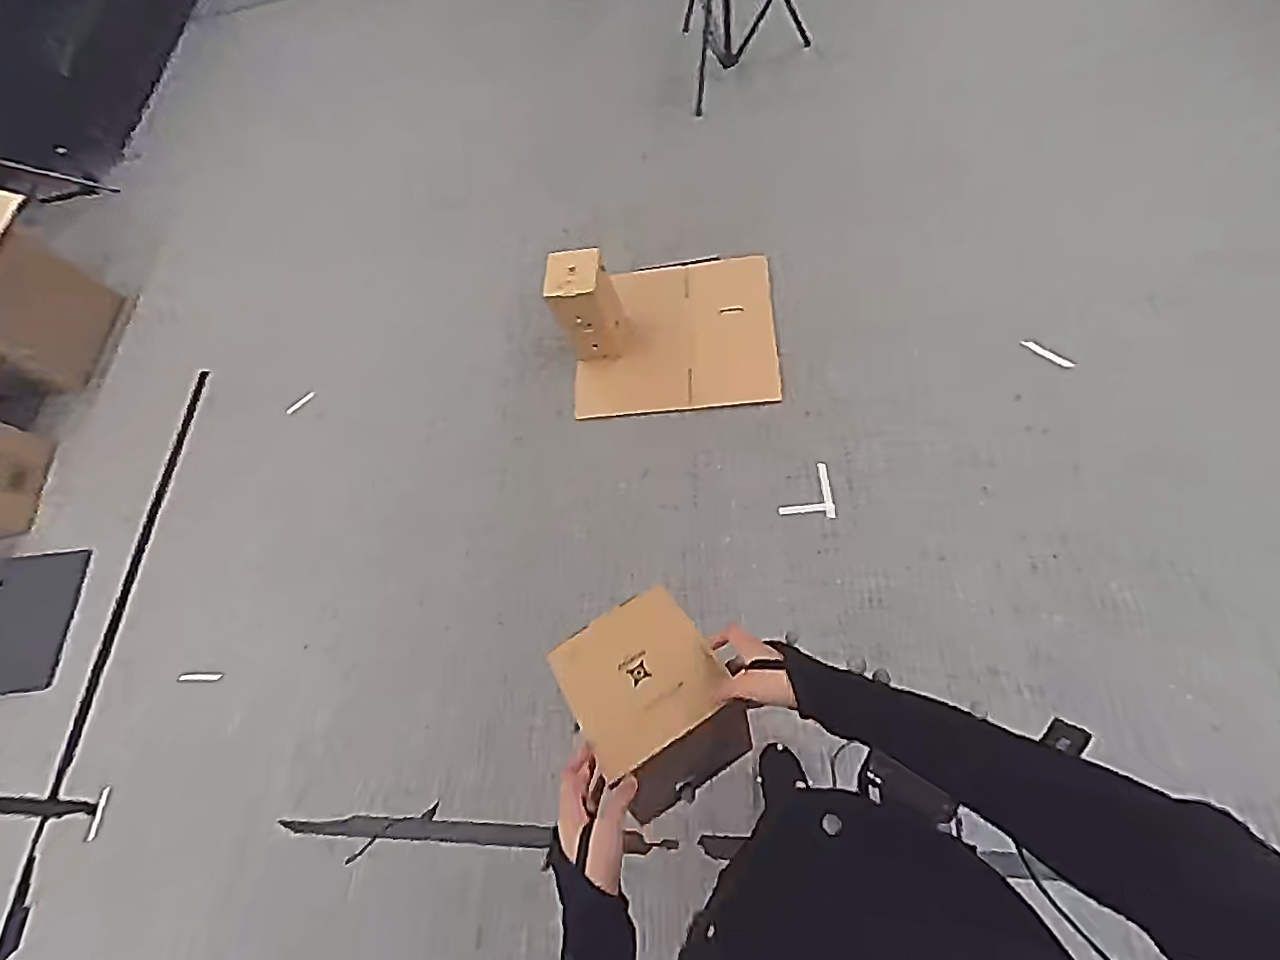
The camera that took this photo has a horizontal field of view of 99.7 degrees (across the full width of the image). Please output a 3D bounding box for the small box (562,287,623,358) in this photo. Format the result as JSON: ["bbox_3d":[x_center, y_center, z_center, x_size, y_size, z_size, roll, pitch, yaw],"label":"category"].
[{"bbox_3d":[-0.159,-0.533,1.863,0.168,0.176,0.179,-2,68,11],"label":"small box"}]

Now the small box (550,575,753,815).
[{"bbox_3d":[0.017,0.255,0.645,0.168,0.176,0.179,-28,45,-12],"label":"small box"}]

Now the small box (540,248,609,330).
[{"bbox_3d":[-0.201,-0.601,1.717,0.168,0.176,0.179,-2,68,12],"label":"small box"}]
